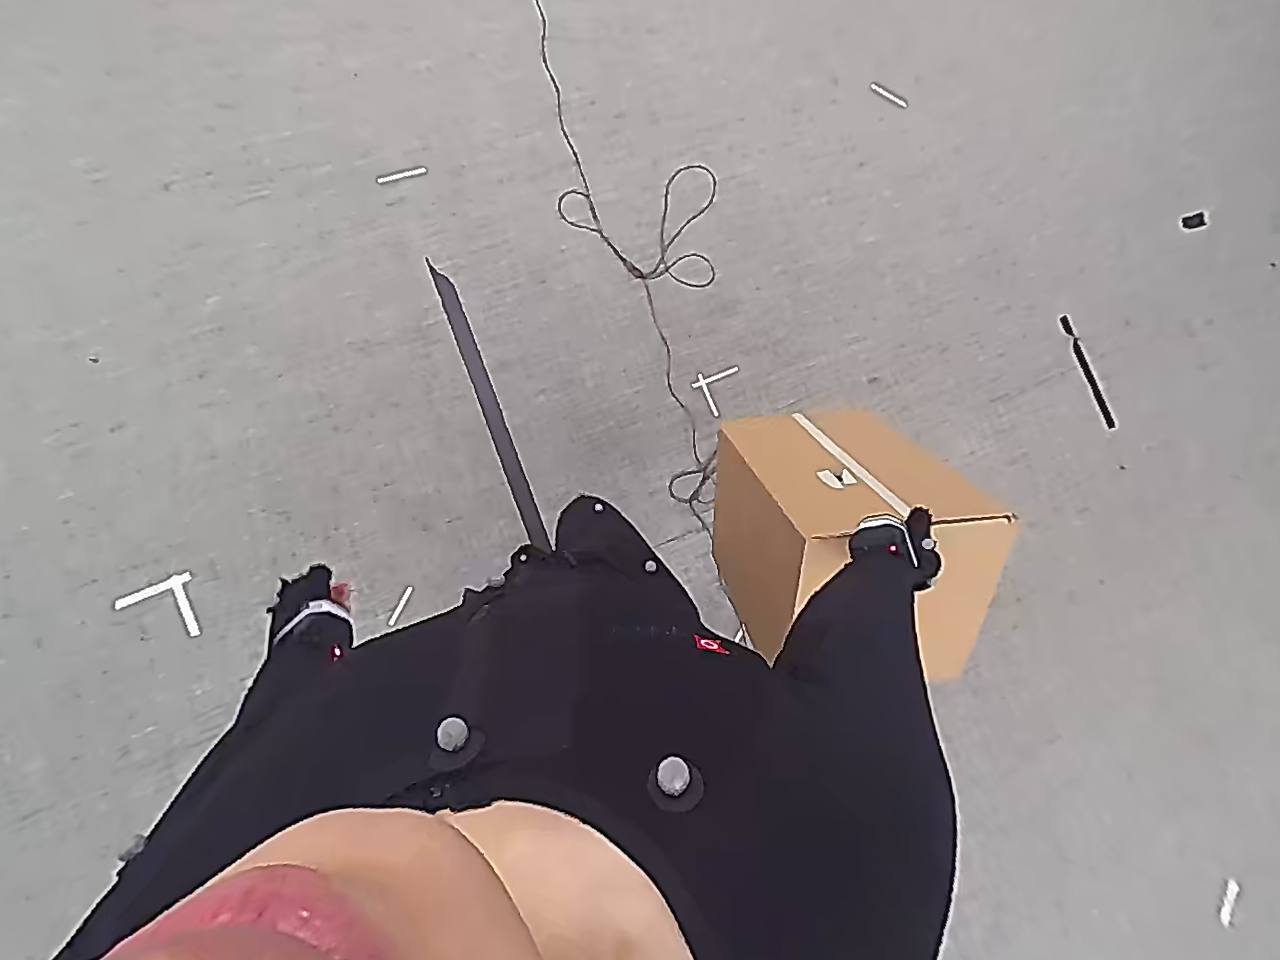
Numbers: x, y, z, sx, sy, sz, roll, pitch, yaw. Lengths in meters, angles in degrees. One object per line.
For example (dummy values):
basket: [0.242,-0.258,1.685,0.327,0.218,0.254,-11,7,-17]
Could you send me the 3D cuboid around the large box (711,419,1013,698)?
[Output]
large box: [0.339,0.112,0.975,0.320,0.408,0.320,-5,119,-8]
